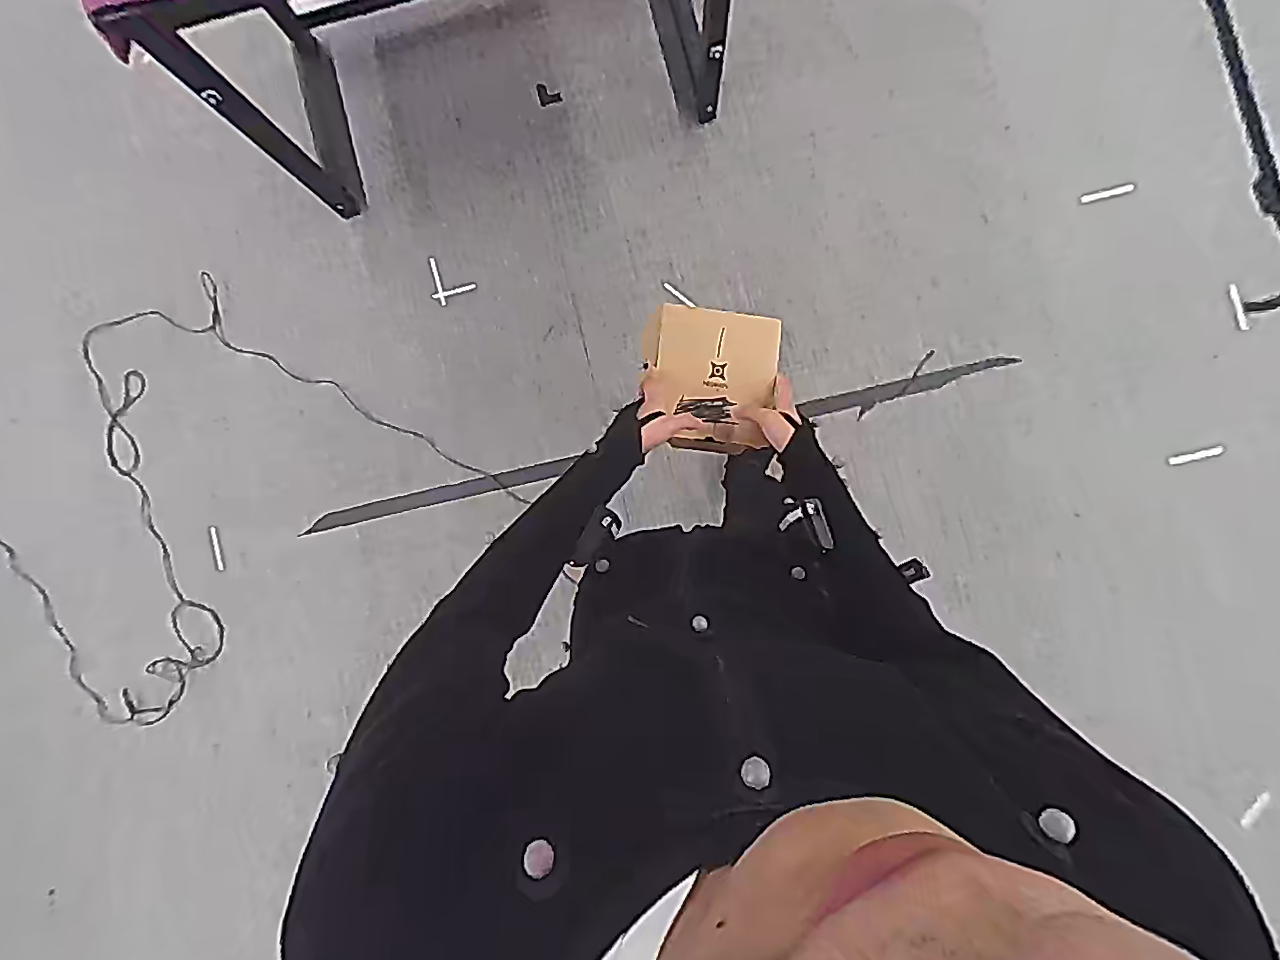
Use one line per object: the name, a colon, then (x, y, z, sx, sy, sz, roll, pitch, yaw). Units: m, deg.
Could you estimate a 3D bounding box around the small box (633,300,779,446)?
small box: (0.085, -0.152, 0.797, 0.168, 0.176, 0.179, 5, 98, -9)
